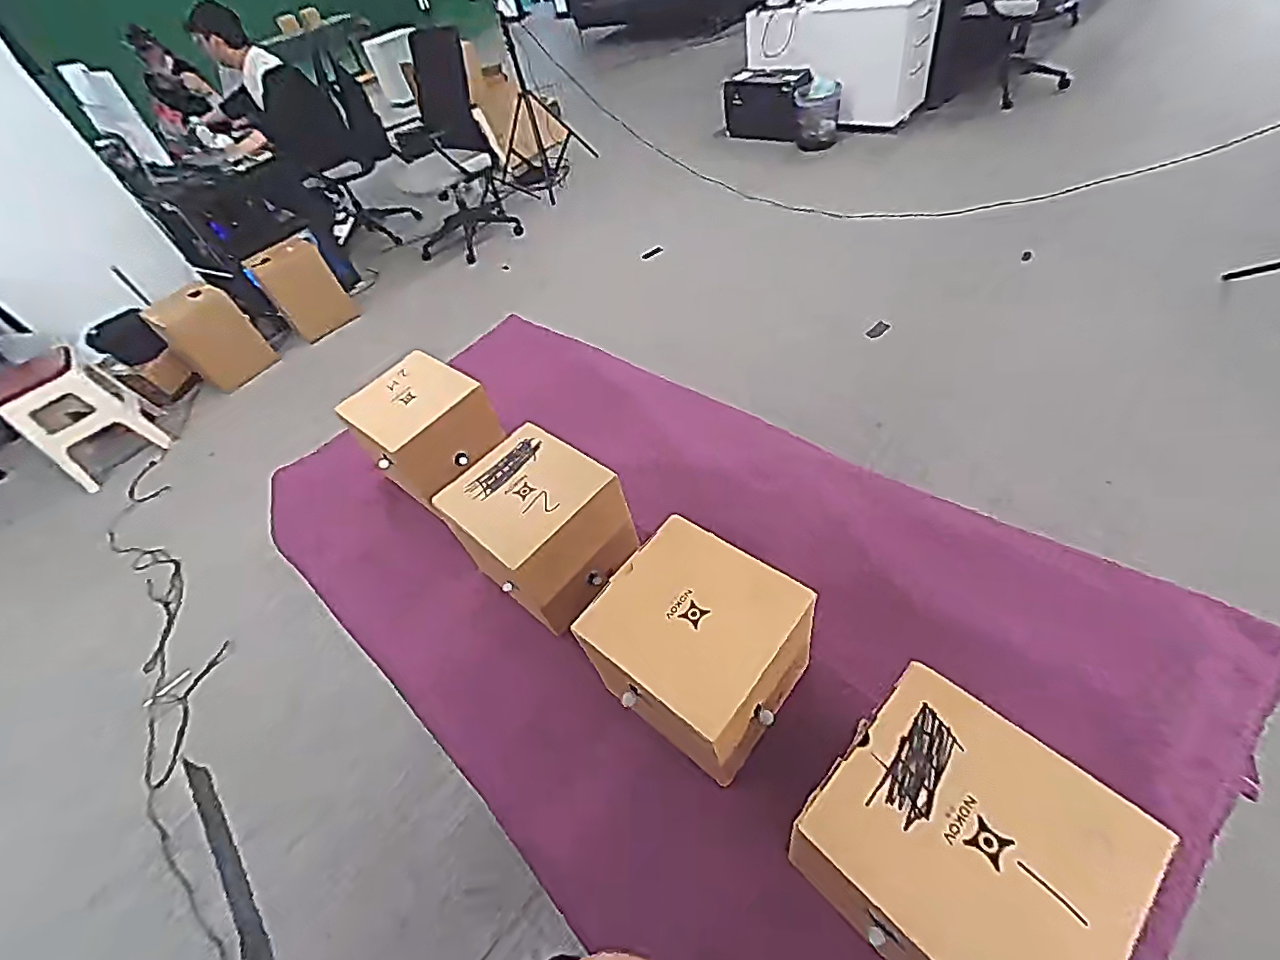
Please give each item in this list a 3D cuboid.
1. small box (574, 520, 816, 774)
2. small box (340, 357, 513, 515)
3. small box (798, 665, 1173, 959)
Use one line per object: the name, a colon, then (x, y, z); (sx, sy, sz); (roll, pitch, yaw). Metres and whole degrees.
small box: (0.065, 0.180, 0.574); (0.179, 0.176, 0.168); (28, 61, 33)
small box: (-0.339, -0.067, 0.889); (0.179, 0.176, 0.168); (29, 61, 30)
small box: (0.241, 0.290, 0.425); (0.168, 0.176, 0.179); (-40, 52, -21)
